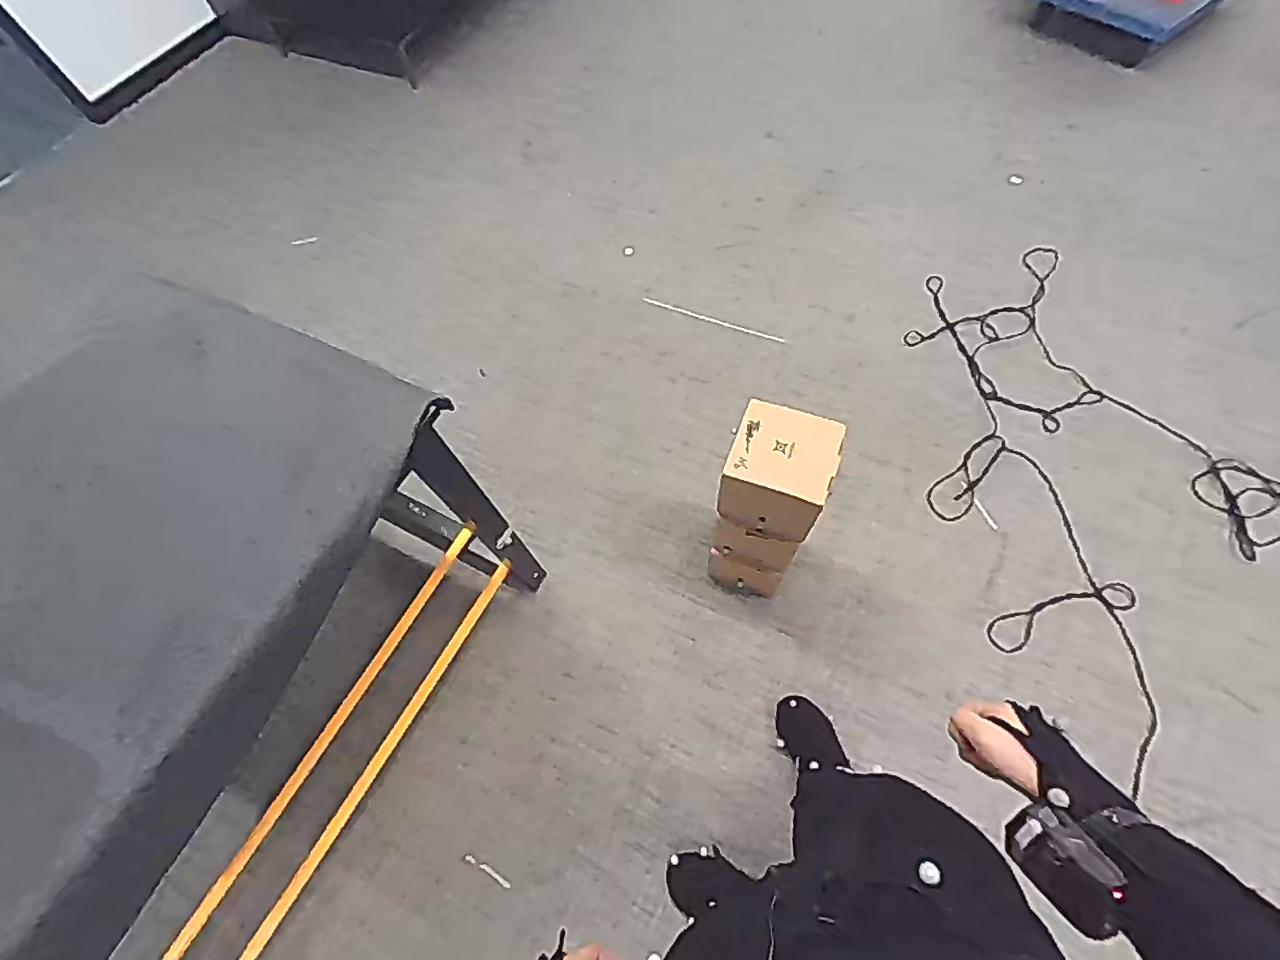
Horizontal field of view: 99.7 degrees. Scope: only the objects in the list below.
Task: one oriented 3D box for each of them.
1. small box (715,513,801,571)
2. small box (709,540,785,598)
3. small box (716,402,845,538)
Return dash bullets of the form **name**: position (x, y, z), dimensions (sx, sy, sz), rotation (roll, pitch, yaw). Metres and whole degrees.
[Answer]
- **small box**: position (0.260, 0.070, 1.138), dimensions (0.168, 0.176, 0.179), rotation (19, 64, 13)
- **small box**: position (0.265, 0.156, 1.278), dimensions (0.168, 0.176, 0.179), rotation (18, 66, 14)
- **small box**: position (0.250, -0.010, 0.995), dimensions (0.179, 0.176, 0.168), rotation (19, 65, 13)
